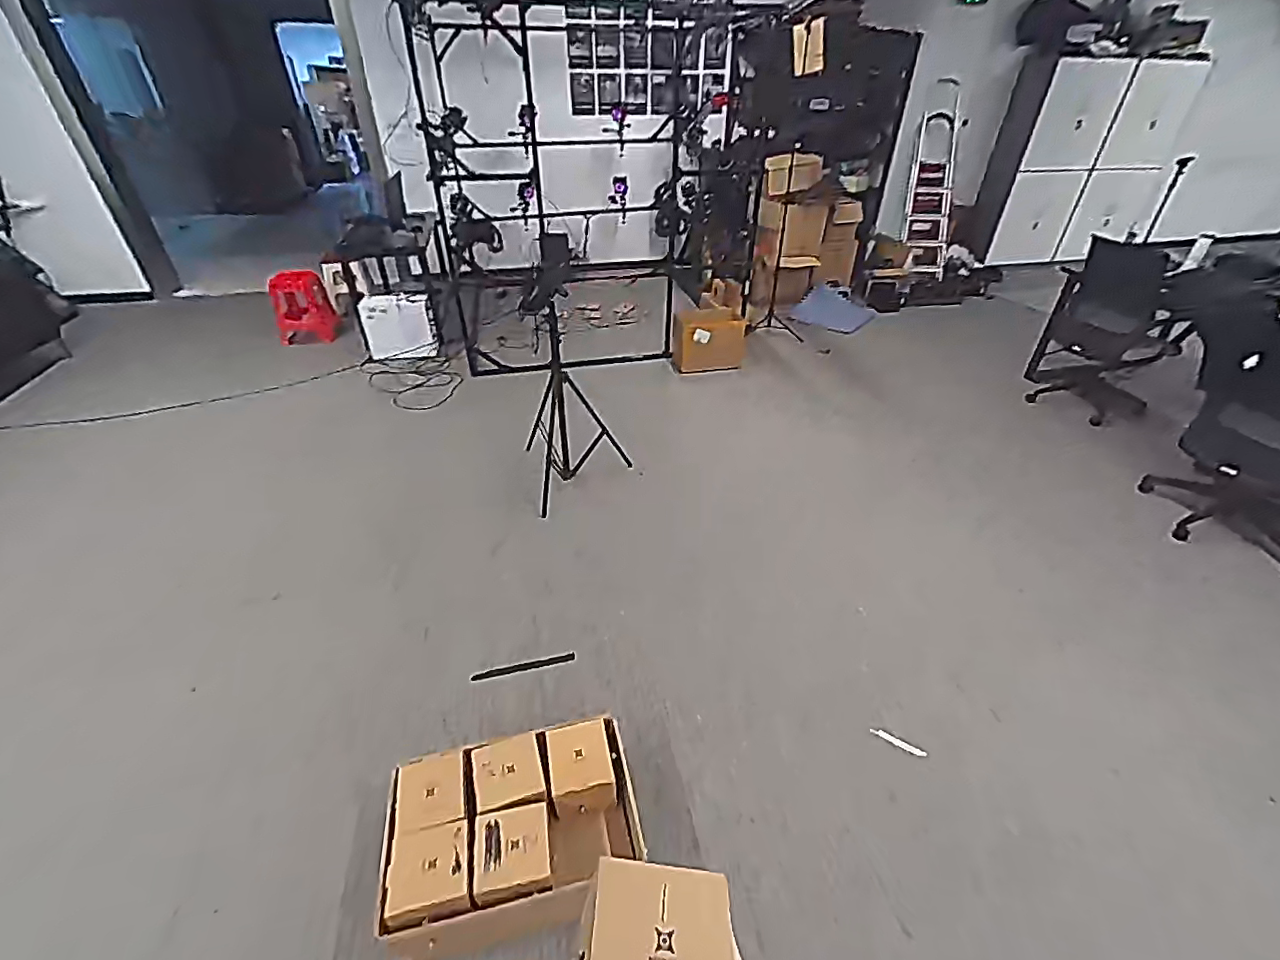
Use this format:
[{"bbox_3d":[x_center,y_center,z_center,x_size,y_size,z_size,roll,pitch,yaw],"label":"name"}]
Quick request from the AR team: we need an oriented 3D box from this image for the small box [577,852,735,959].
[{"bbox_3d":[0.012,0.585,0.636,0.168,0.176,0.179,11,28,-3],"label":"small box"}]
